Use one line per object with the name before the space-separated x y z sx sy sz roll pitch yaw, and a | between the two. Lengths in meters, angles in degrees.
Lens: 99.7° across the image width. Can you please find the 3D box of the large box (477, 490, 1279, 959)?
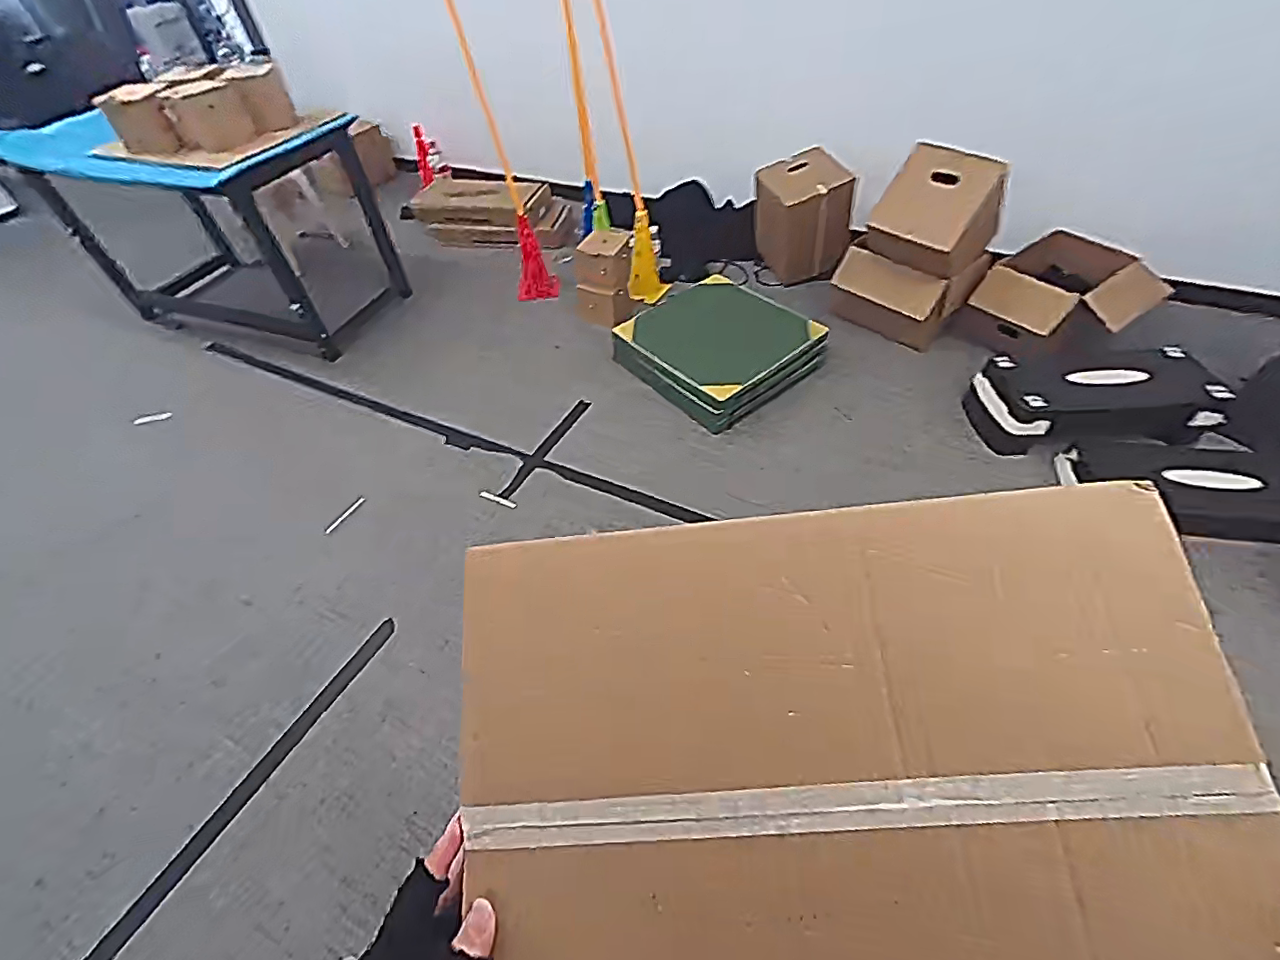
large box | 0.121 0.219 0.430 0.408 0.320 0.320 -6 73 6
